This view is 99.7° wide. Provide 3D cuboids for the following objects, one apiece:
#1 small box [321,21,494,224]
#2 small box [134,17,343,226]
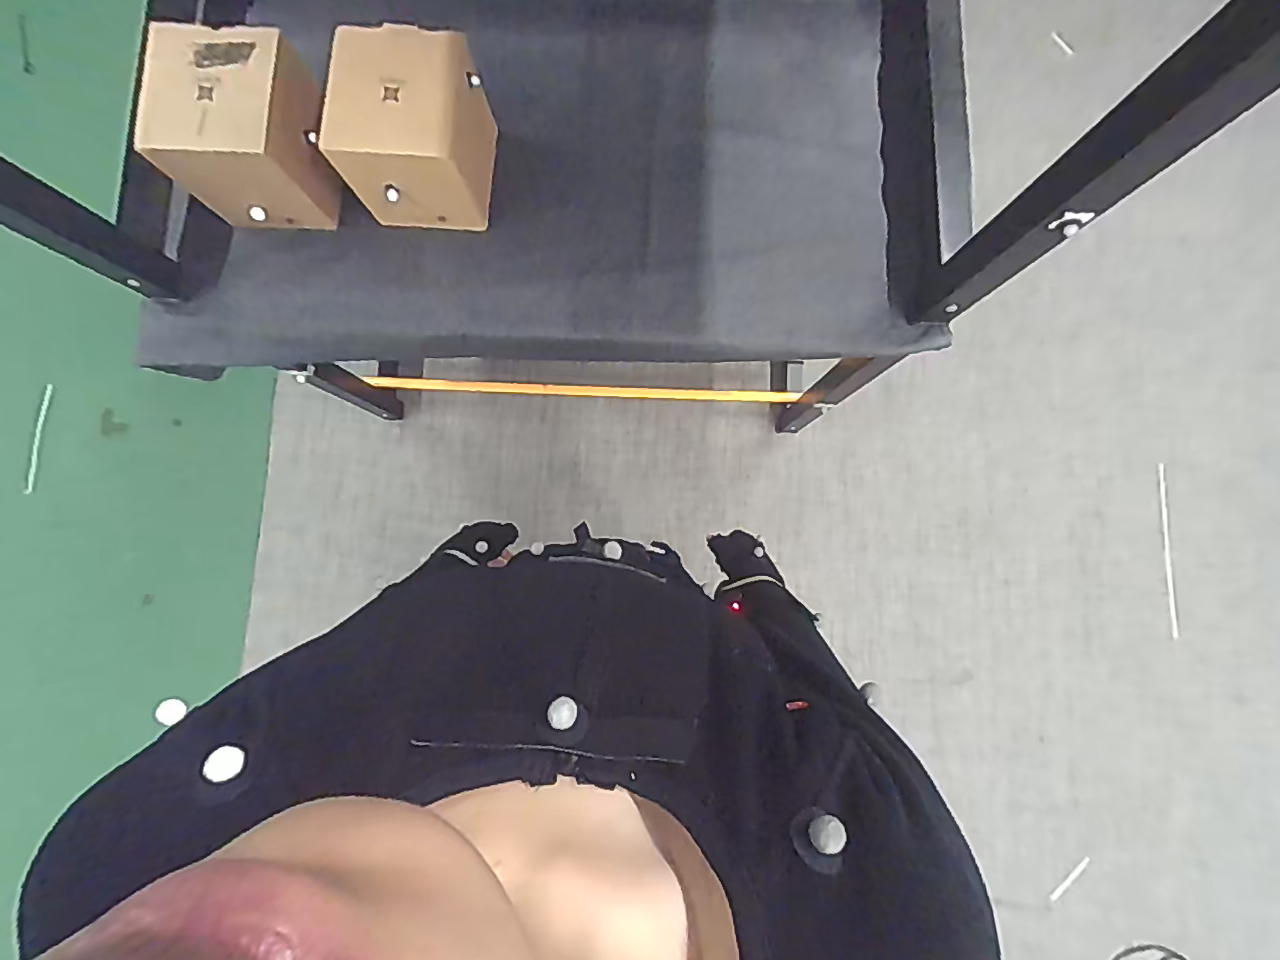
[{"bbox_3d":[-0.313,-0.488,0.761,0.168,0.176,0.179,3,83,0],"label":"small box"},{"bbox_3d":[-0.540,-0.489,0.756,0.168,0.176,0.179,2,84,0],"label":"small box"}]
